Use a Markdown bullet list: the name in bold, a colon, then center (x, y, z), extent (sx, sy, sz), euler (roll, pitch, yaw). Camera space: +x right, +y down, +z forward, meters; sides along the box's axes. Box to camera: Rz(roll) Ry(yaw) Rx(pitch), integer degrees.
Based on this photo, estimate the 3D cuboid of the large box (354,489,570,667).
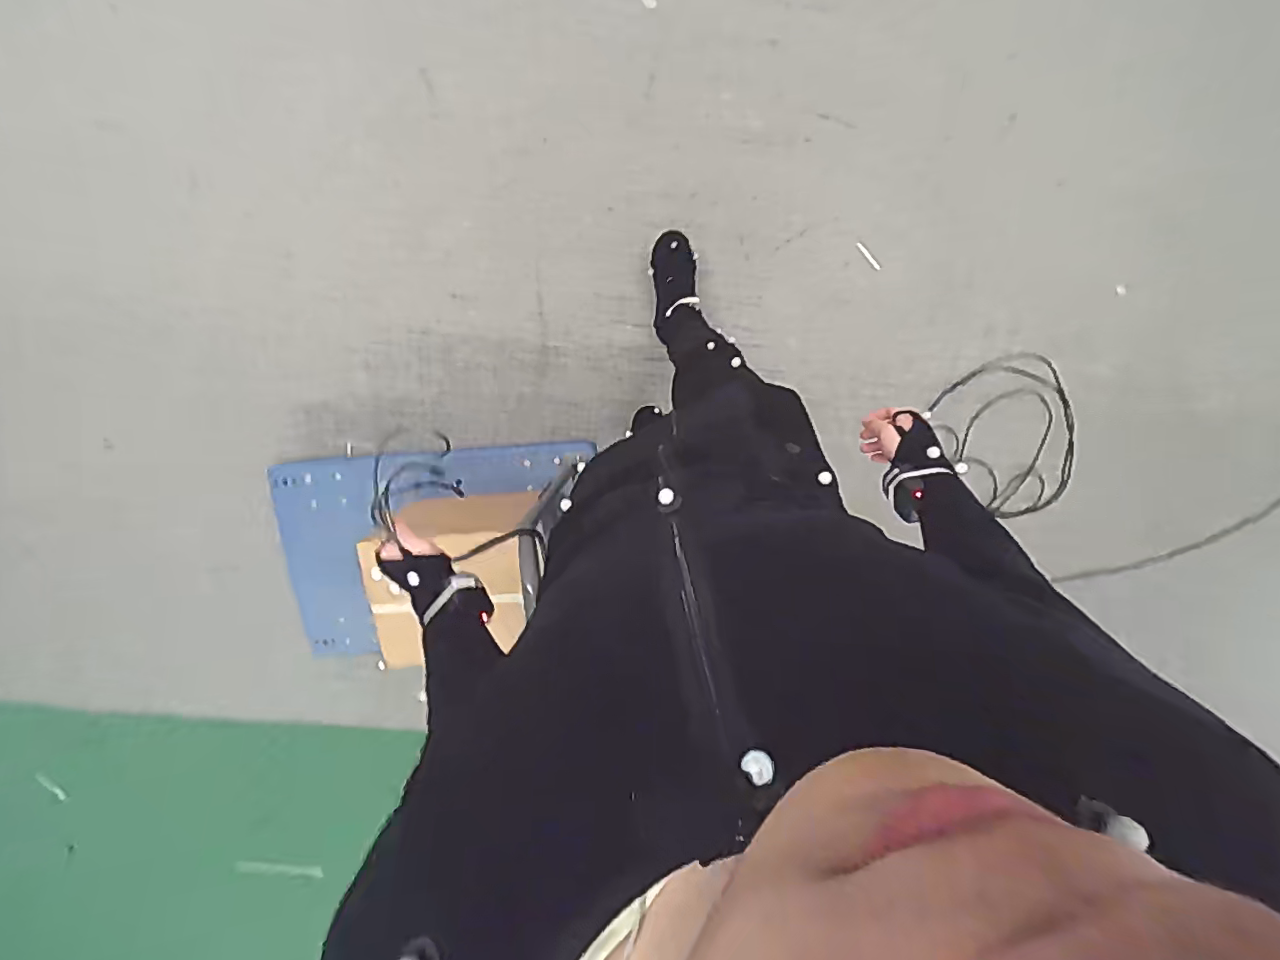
- **large box**: center (-0.403, 0.224, 1.333), extent (0.408, 0.320, 0.320), euler (-4, 105, 1)
